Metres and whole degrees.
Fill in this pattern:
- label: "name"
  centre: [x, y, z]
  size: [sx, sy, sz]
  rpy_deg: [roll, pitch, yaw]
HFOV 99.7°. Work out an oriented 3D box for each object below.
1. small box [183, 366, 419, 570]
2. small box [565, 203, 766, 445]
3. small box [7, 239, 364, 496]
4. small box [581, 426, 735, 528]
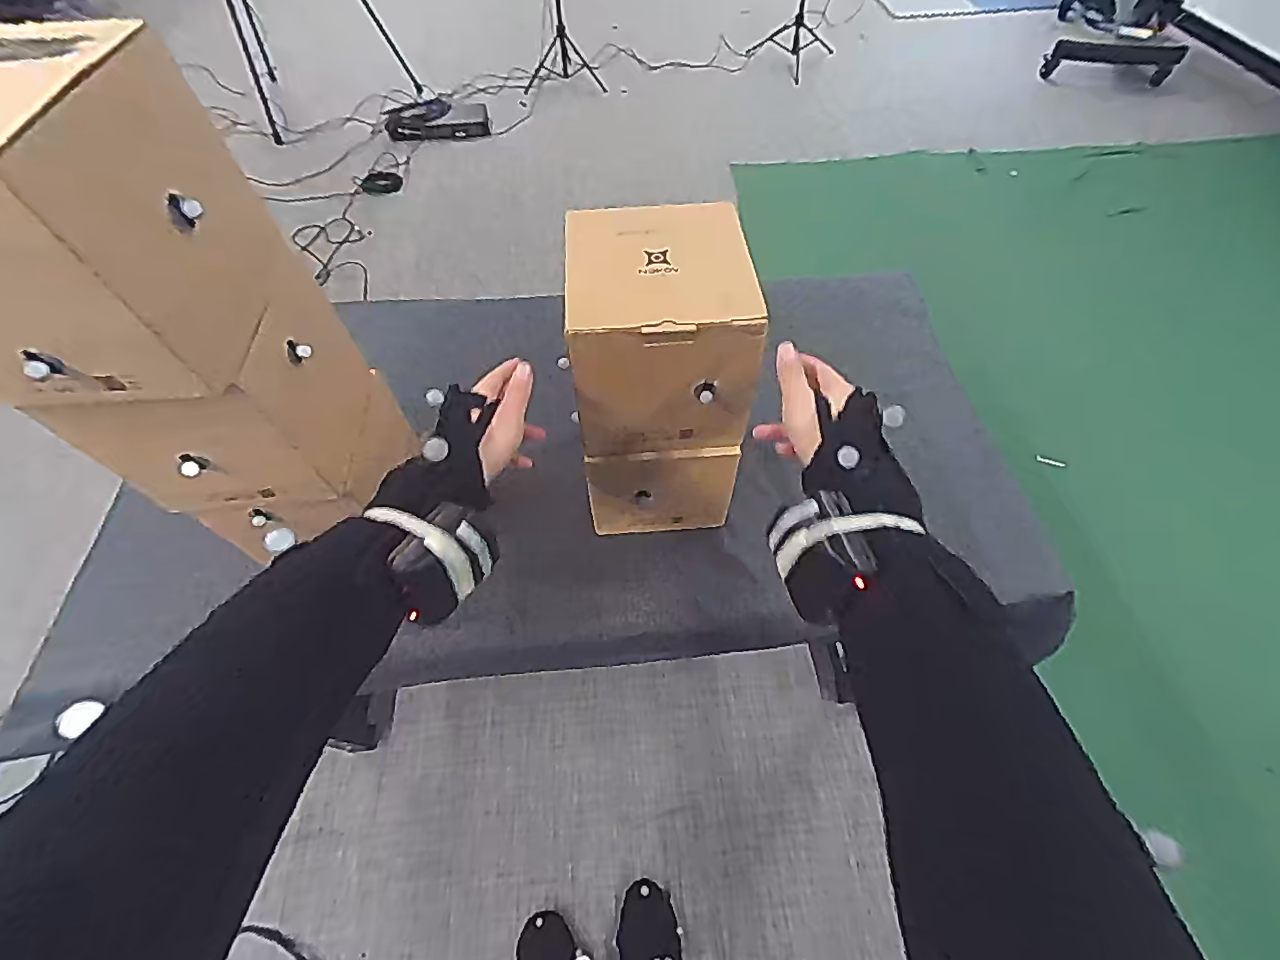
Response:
- label: "small box"
  centre: [-0.378, -0.011, 0.647]
  size: [0.168, 0.176, 0.179]
  rpy_deg: [-5, 57, -3]
- label: "small box"
  centre: [0.016, -0.147, 0.543]
  size: [0.168, 0.176, 0.179]
  rpy_deg: [-4, 56, -3]
- label: "small box"
  centre: [-0.384, -0.095, 0.505]
  size: [0.168, 0.176, 0.179]
  rpy_deg: [-4, 57, -4]
- label: "small box"
  centre: [0.017, -0.050, 0.673]
  size: [0.168, 0.176, 0.179]
  rpy_deg: [-3, 56, -2]
